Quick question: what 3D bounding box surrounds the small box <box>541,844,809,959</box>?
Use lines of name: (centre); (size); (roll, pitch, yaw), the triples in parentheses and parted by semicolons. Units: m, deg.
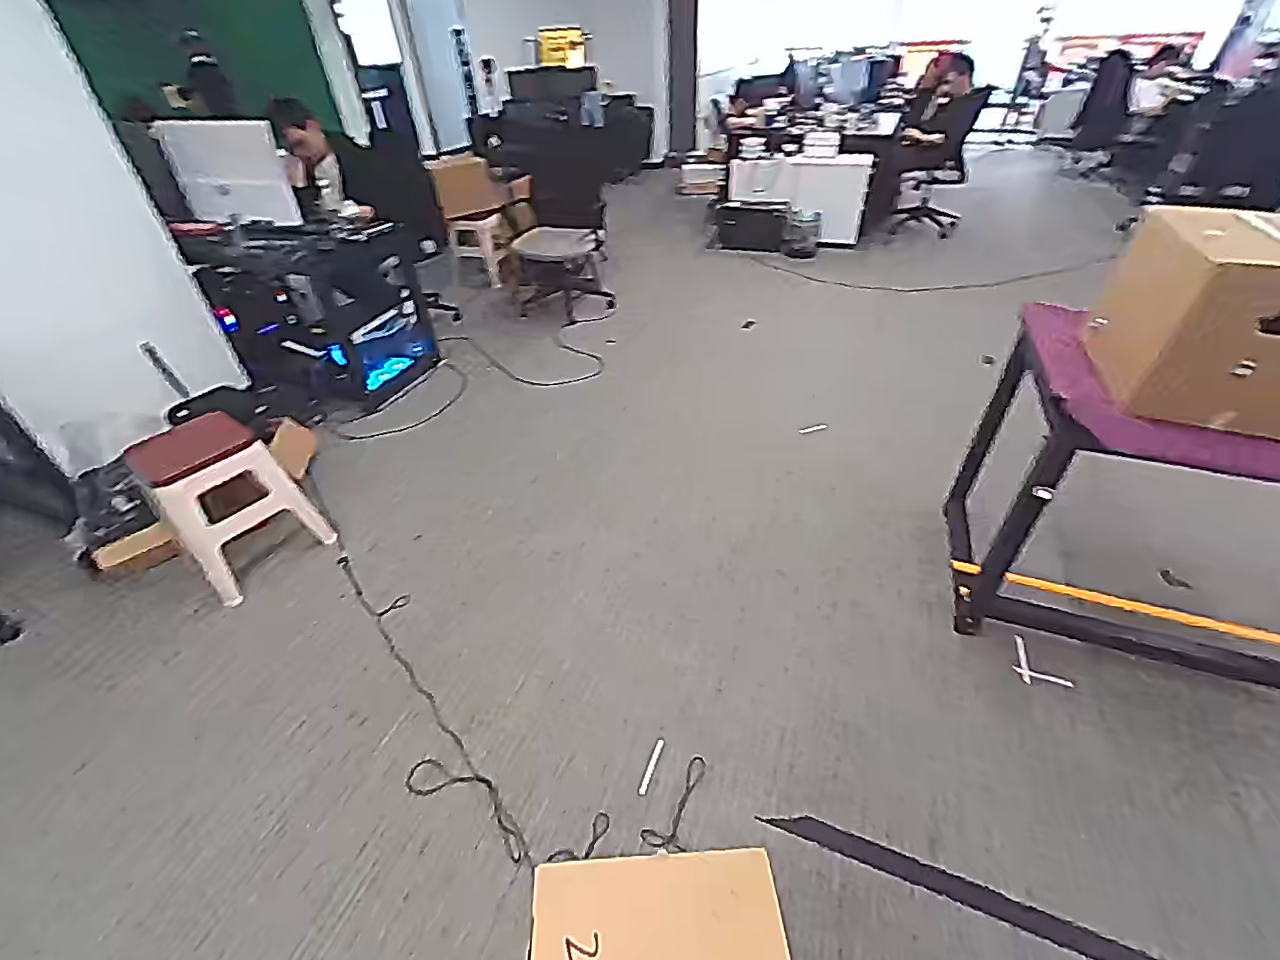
small box: (0.022, 0.383, 0.382); (0.179, 0.176, 0.168); (-1, 37, -3)
